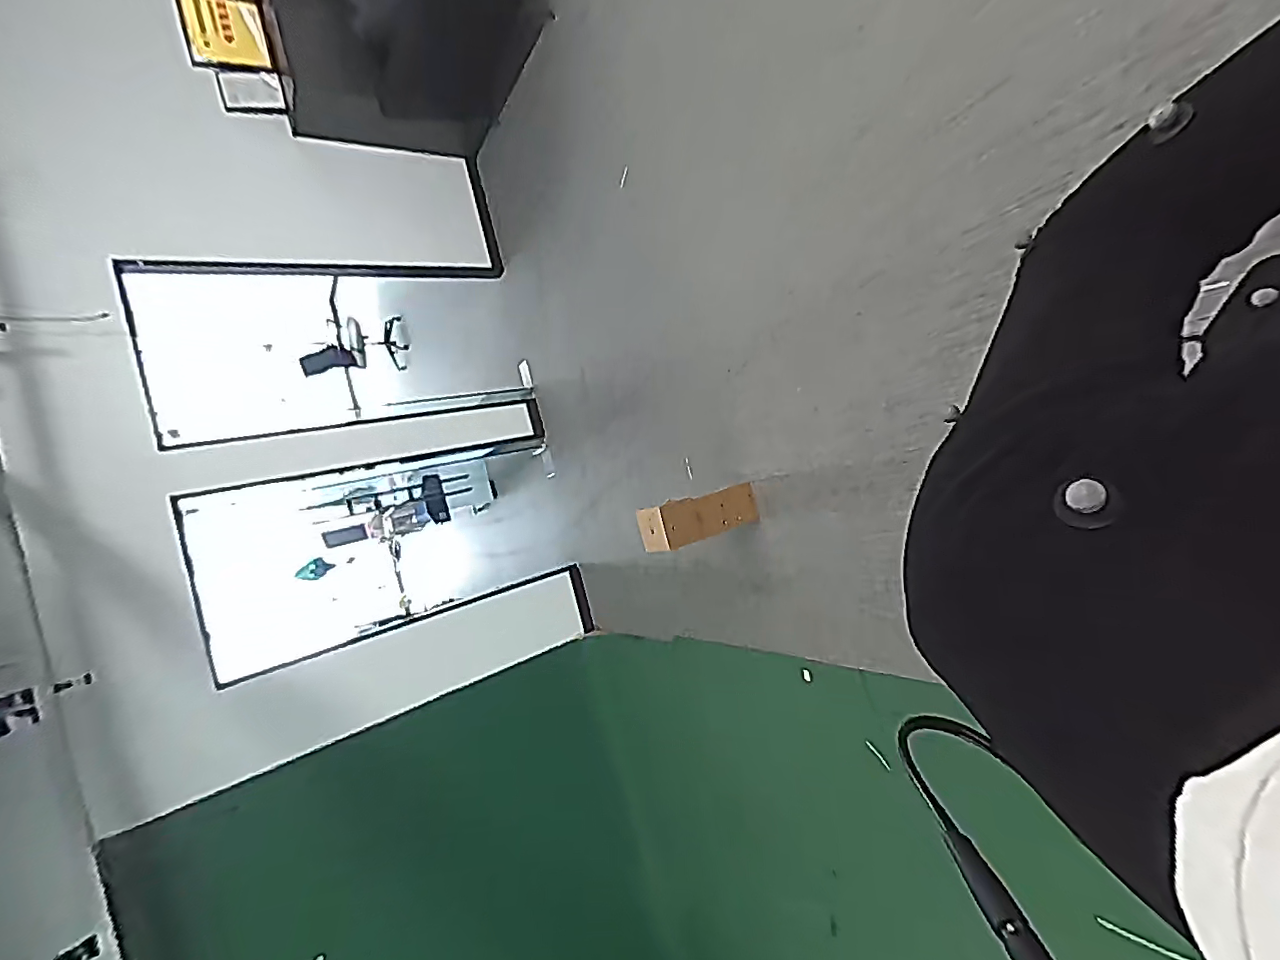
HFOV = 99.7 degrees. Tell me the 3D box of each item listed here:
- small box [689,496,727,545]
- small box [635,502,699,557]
[{"bbox_3d":[0.238,0.170,2.213,0.179,0.176,0.168,-18,86,56],"label":"small box"},{"bbox_3d":[0.111,0.193,2.111,0.168,0.176,0.179,-16,87,55],"label":"small box"}]
